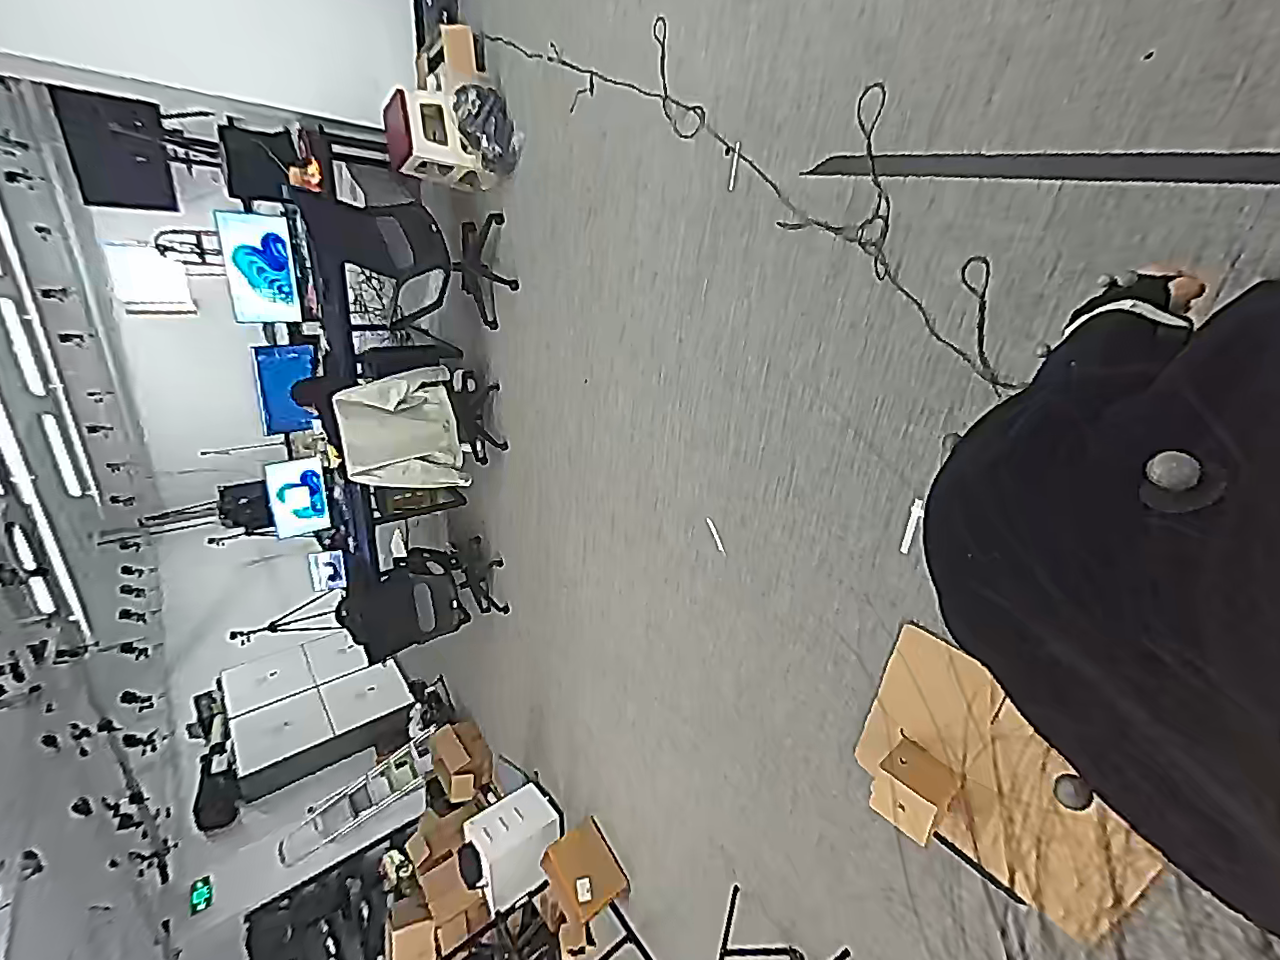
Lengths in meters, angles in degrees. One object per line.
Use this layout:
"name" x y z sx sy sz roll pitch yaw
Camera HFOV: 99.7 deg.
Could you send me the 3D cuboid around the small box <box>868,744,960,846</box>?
"small box" 0.820 0.928 1.620 0.179 0.176 0.168 24 120 44
